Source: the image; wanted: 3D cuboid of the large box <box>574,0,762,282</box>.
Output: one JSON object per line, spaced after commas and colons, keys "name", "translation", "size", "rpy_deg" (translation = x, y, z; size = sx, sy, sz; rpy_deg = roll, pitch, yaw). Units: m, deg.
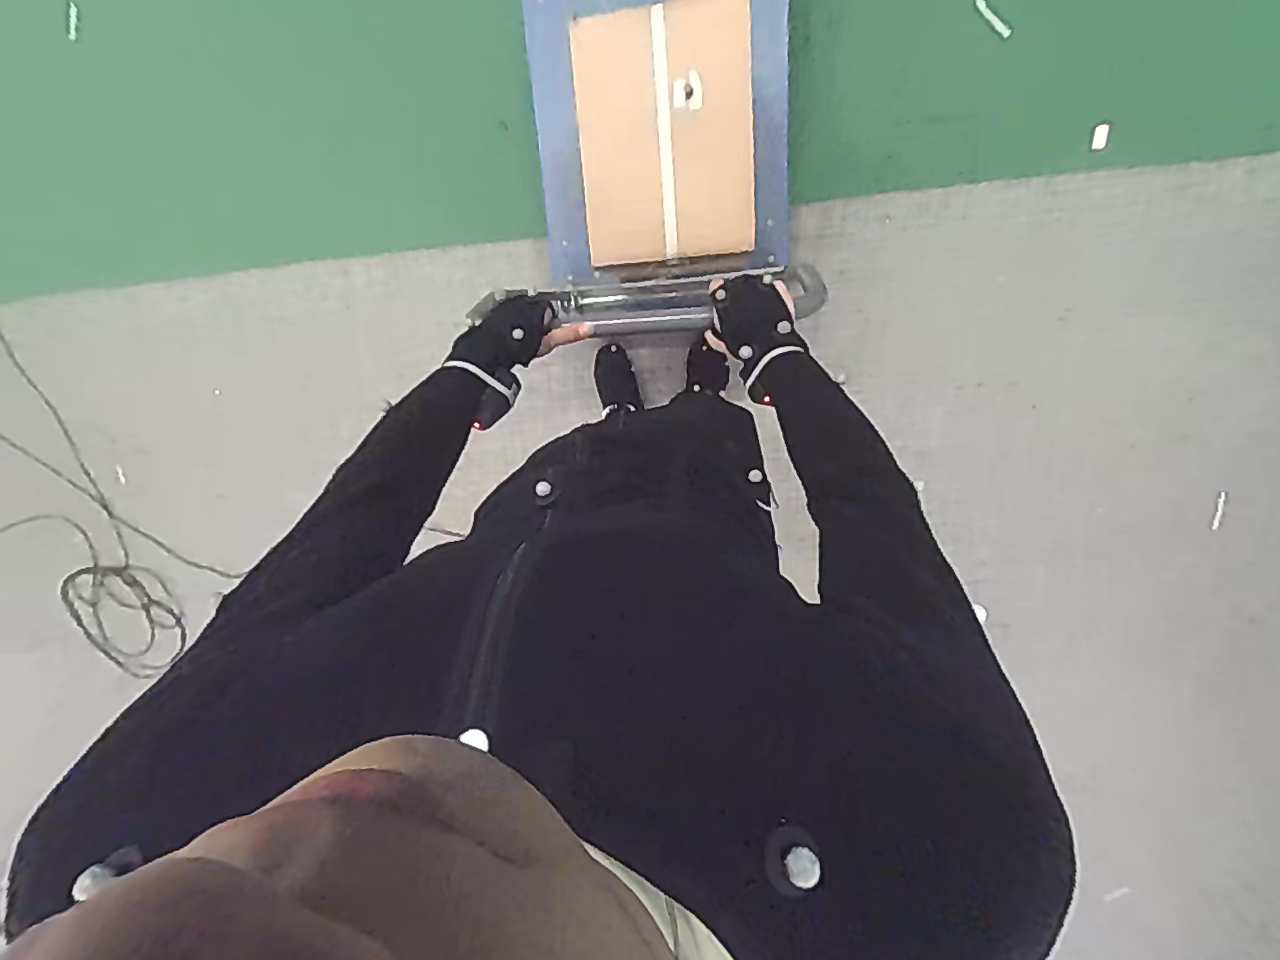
{"name": "large box", "translation": [0.074, -0.640, 1.100], "size": [0.320, 0.320, 0.408], "rpy_deg": [-2, 105, 8]}
